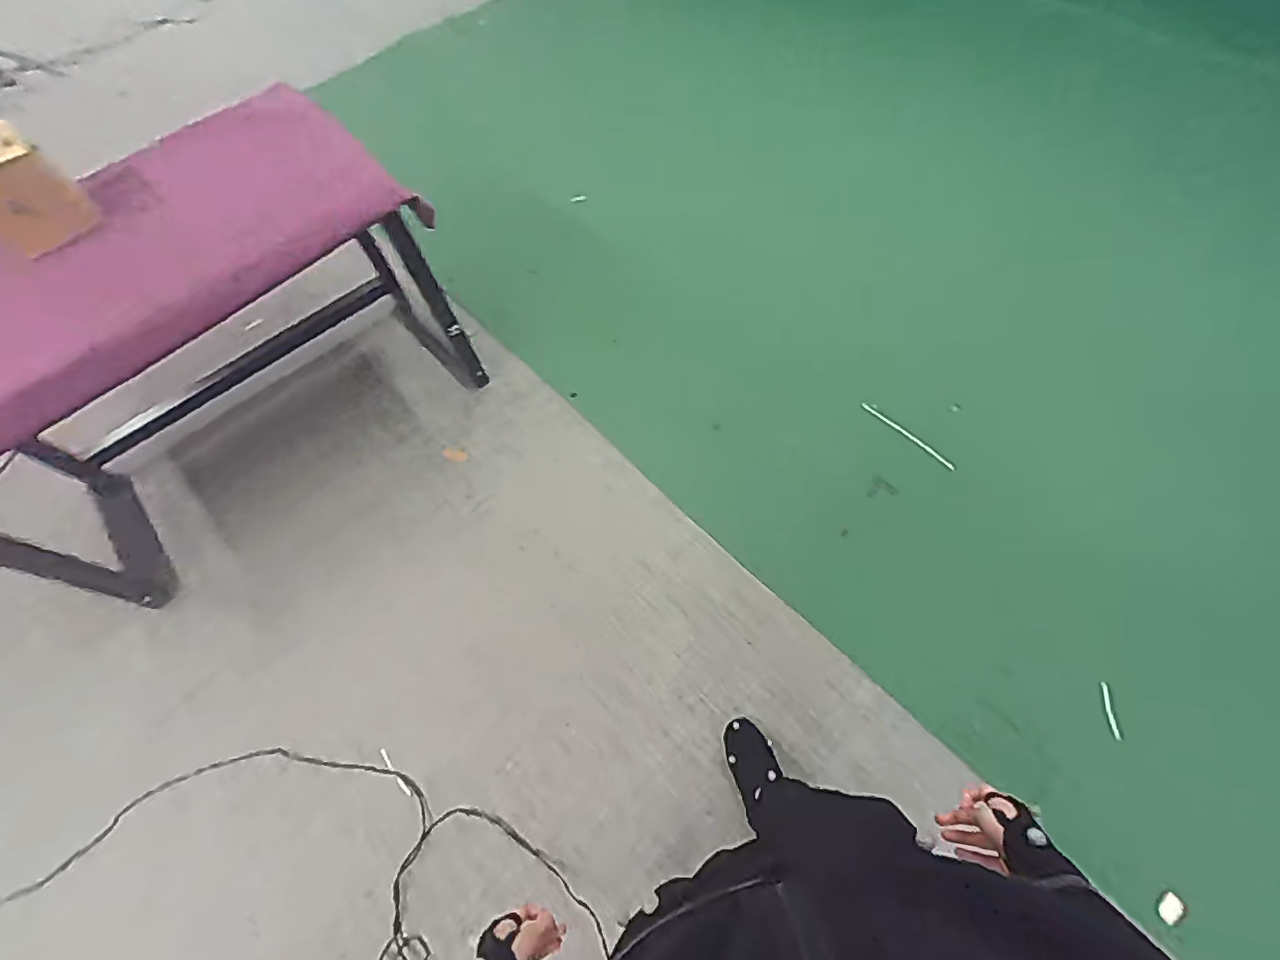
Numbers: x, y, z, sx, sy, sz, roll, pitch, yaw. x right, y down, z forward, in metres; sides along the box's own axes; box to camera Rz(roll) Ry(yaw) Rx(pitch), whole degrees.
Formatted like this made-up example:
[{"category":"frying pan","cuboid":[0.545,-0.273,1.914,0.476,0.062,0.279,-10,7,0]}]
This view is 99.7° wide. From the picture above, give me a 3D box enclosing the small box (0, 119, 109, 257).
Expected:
[{"category":"small box","cuboid":[-1.313,-0.615,1.153,0.179,0.176,0.168,-40,69,-14]}]
